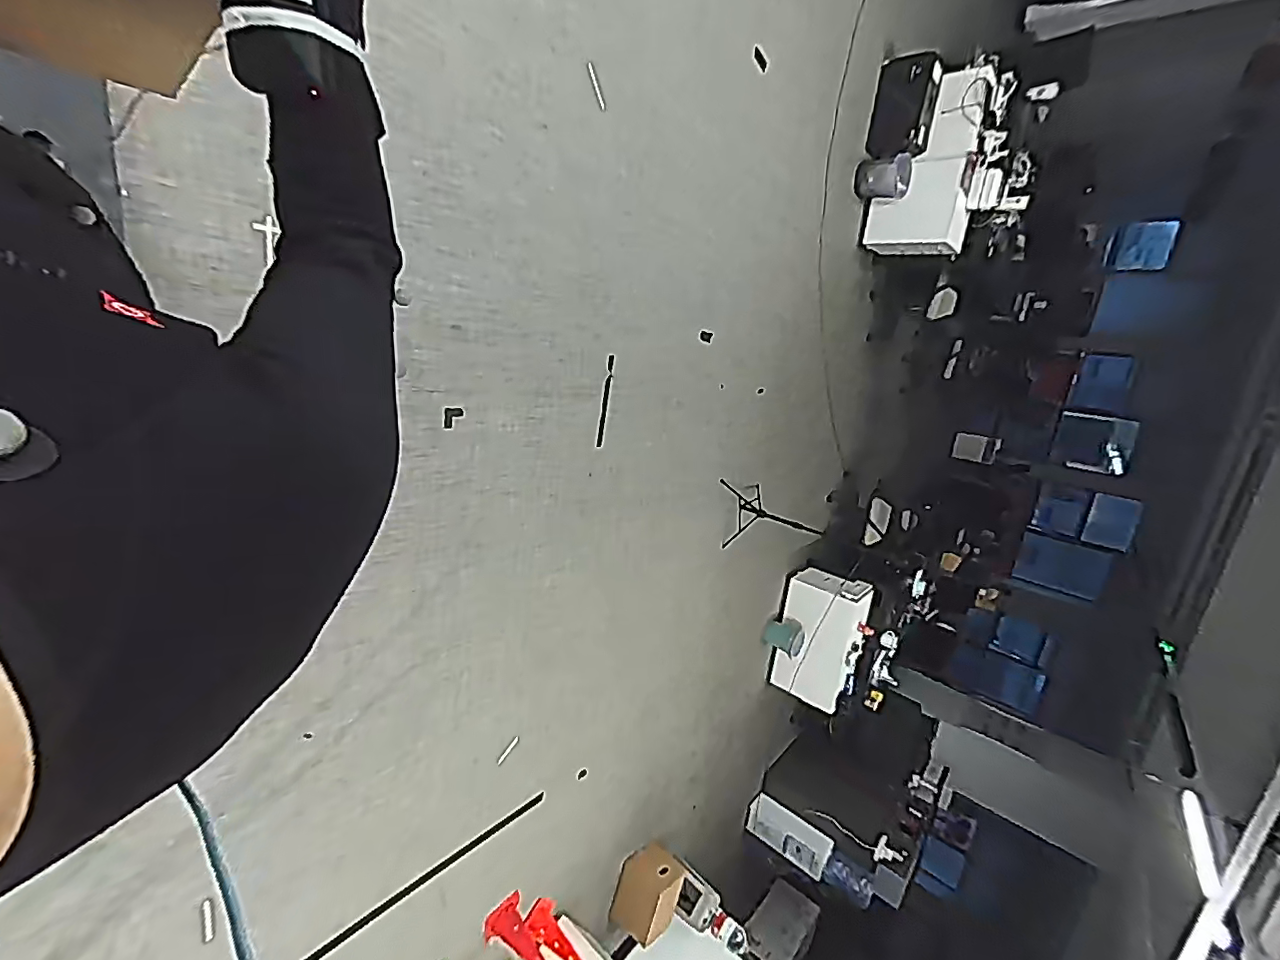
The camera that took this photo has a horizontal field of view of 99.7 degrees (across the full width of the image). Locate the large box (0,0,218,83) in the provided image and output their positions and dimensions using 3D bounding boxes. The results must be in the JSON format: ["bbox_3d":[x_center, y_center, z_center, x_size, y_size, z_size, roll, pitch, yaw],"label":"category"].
[{"bbox_3d":[-0.473,-0.474,0.251,0.408,0.320,0.320,-12,109,-48],"label":"large box"}]
